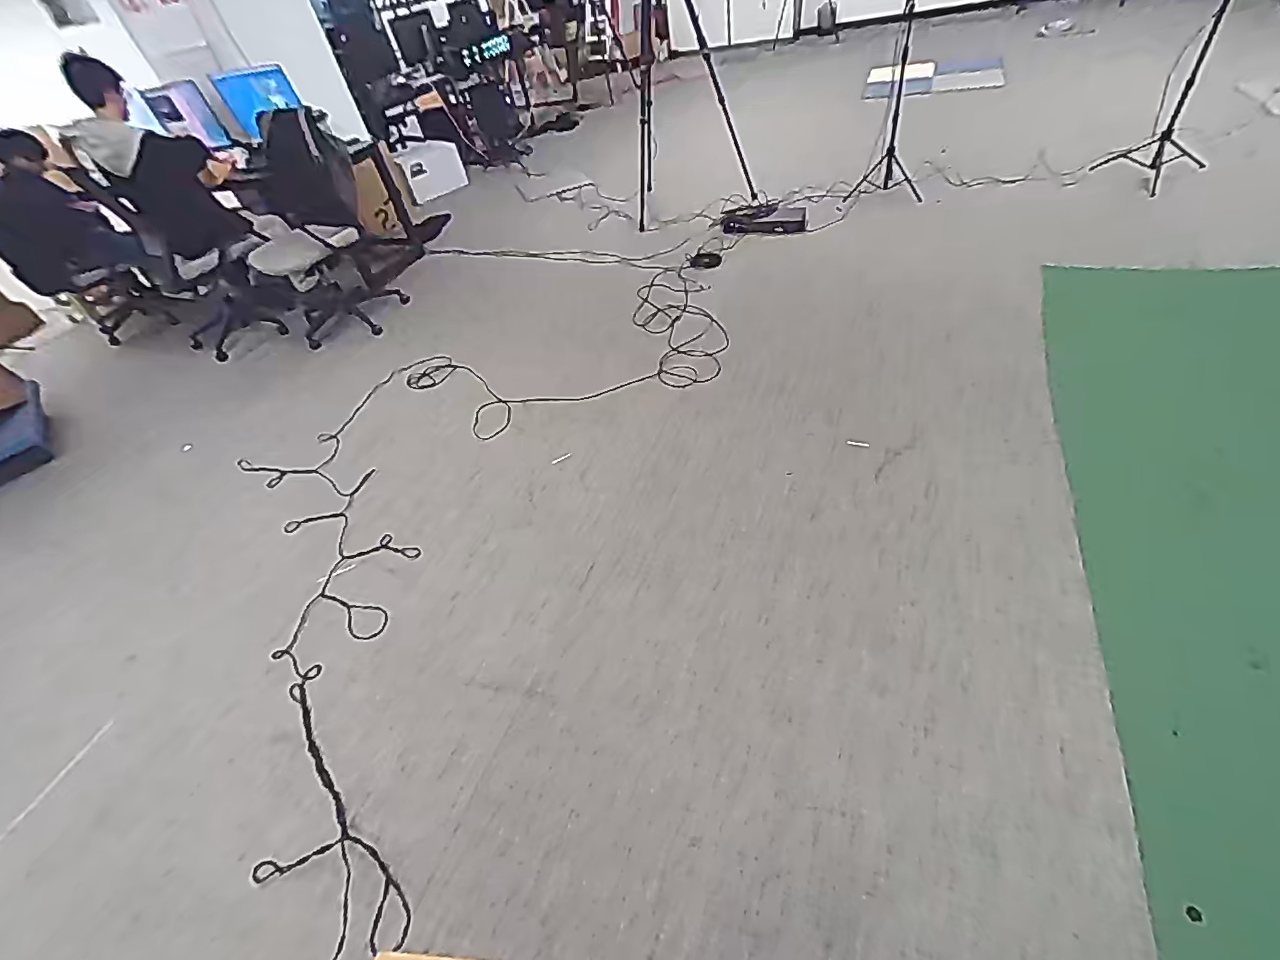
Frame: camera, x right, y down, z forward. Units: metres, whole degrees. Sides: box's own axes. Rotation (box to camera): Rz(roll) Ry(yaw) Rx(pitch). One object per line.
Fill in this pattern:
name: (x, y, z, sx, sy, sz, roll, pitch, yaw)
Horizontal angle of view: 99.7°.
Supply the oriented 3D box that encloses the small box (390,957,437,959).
small box: (-0.217, 0.649, 0.569, 0.168, 0.179, 0.176, -2, 20, 6)
